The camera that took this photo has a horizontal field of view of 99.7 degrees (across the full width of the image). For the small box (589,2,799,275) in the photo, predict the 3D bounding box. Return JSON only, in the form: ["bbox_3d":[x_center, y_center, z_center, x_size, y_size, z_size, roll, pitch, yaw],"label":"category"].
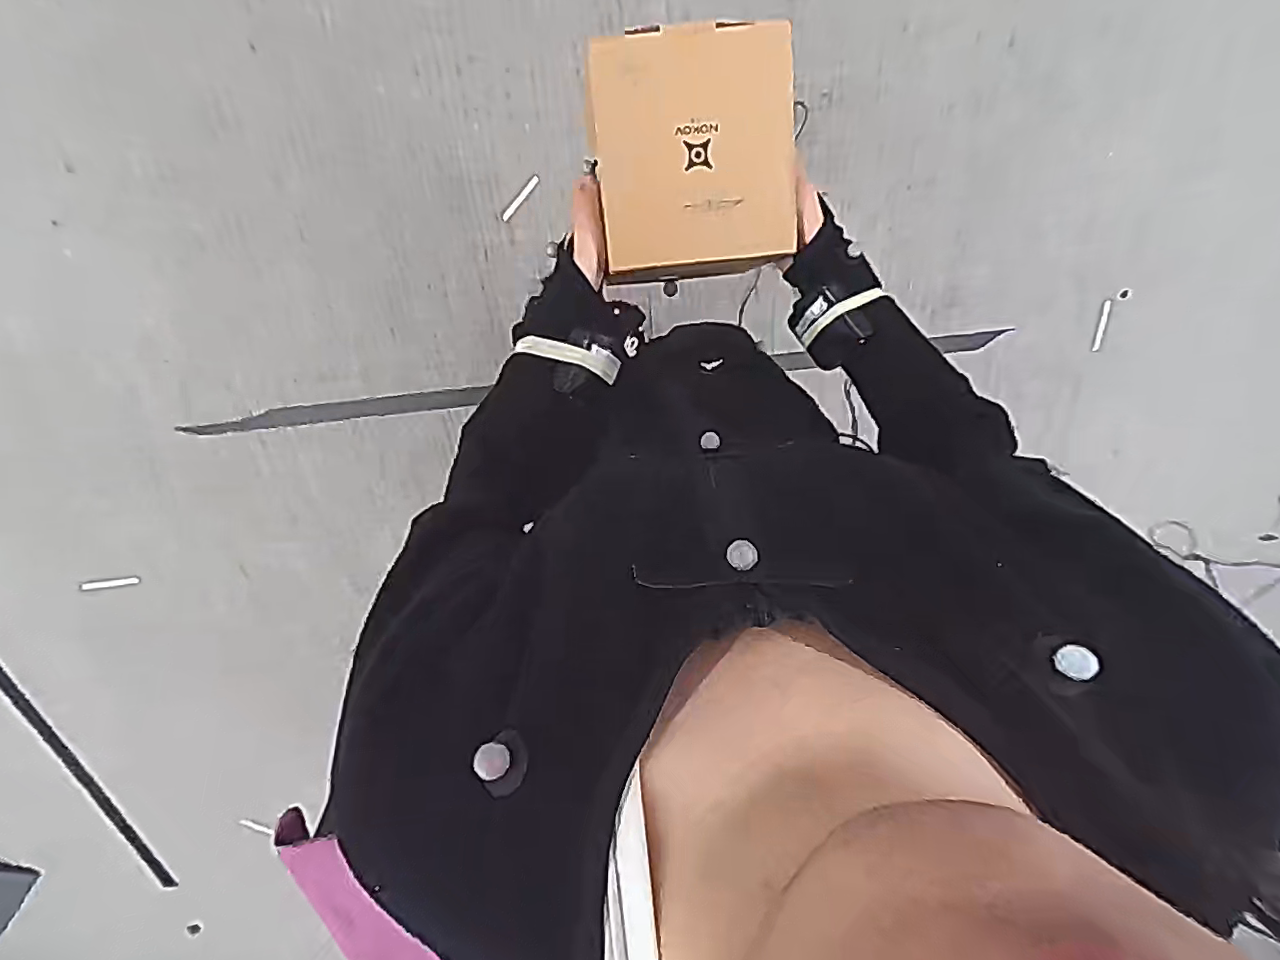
[{"bbox_3d":[0.041,-0.303,0.517,0.168,0.176,0.179,-7,106,-3],"label":"small box"}]
